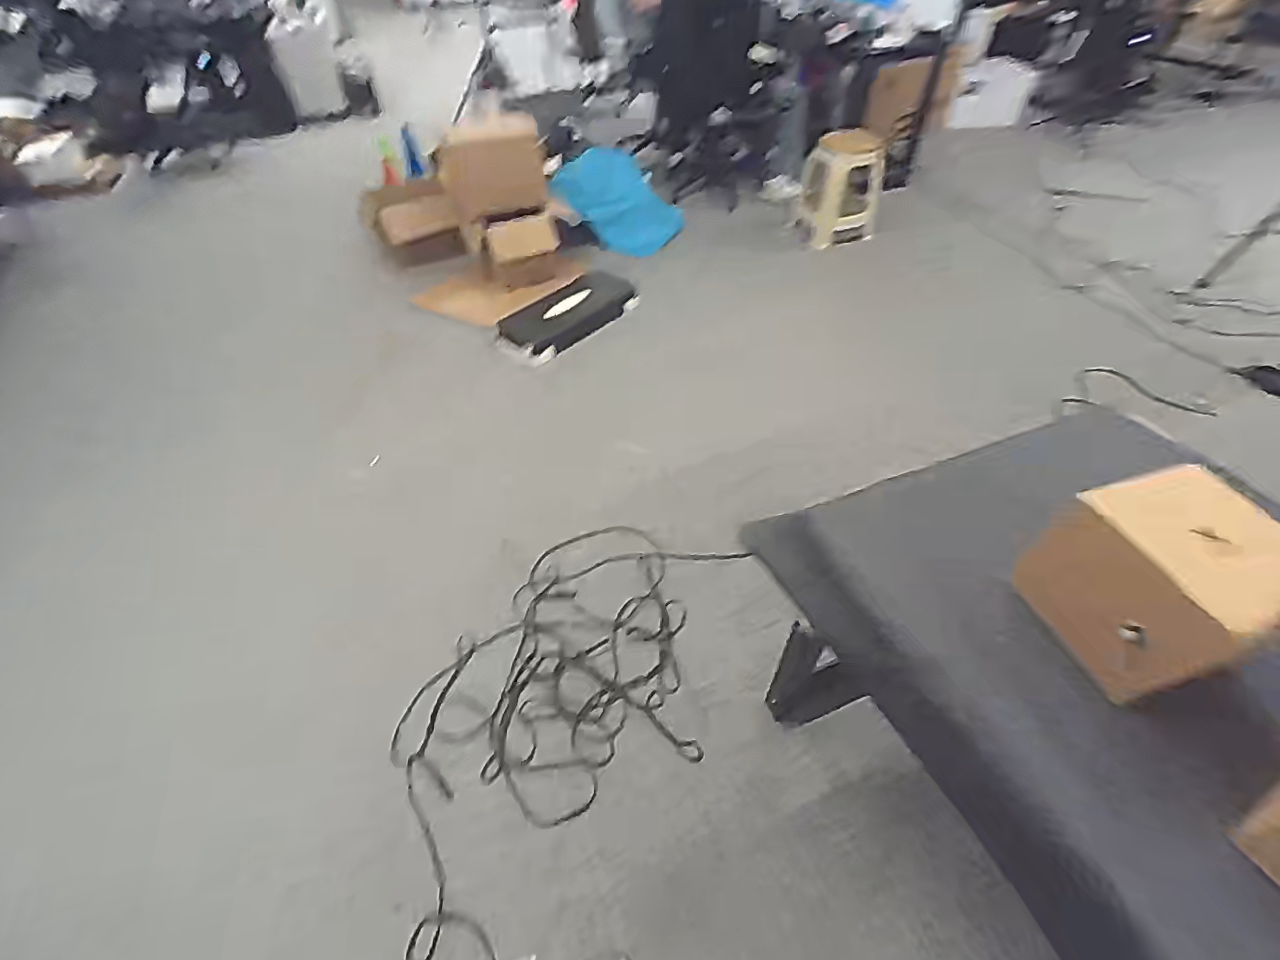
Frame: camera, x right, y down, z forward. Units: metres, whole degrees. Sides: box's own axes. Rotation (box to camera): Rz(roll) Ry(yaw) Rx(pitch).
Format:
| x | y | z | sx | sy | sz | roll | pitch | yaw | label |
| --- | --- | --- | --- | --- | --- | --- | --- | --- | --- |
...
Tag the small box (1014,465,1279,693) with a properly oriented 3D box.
| x | y | z | sx | sy | sz | roll | pitch | yaw | label |
| --- | --- | --- | --- | --- | --- | --- | --- | --- | --- |
| 0.578 | 0.115 | 0.600 | 0.168 | 0.176 | 0.179 | -13 | 48 | -11 | small box |
